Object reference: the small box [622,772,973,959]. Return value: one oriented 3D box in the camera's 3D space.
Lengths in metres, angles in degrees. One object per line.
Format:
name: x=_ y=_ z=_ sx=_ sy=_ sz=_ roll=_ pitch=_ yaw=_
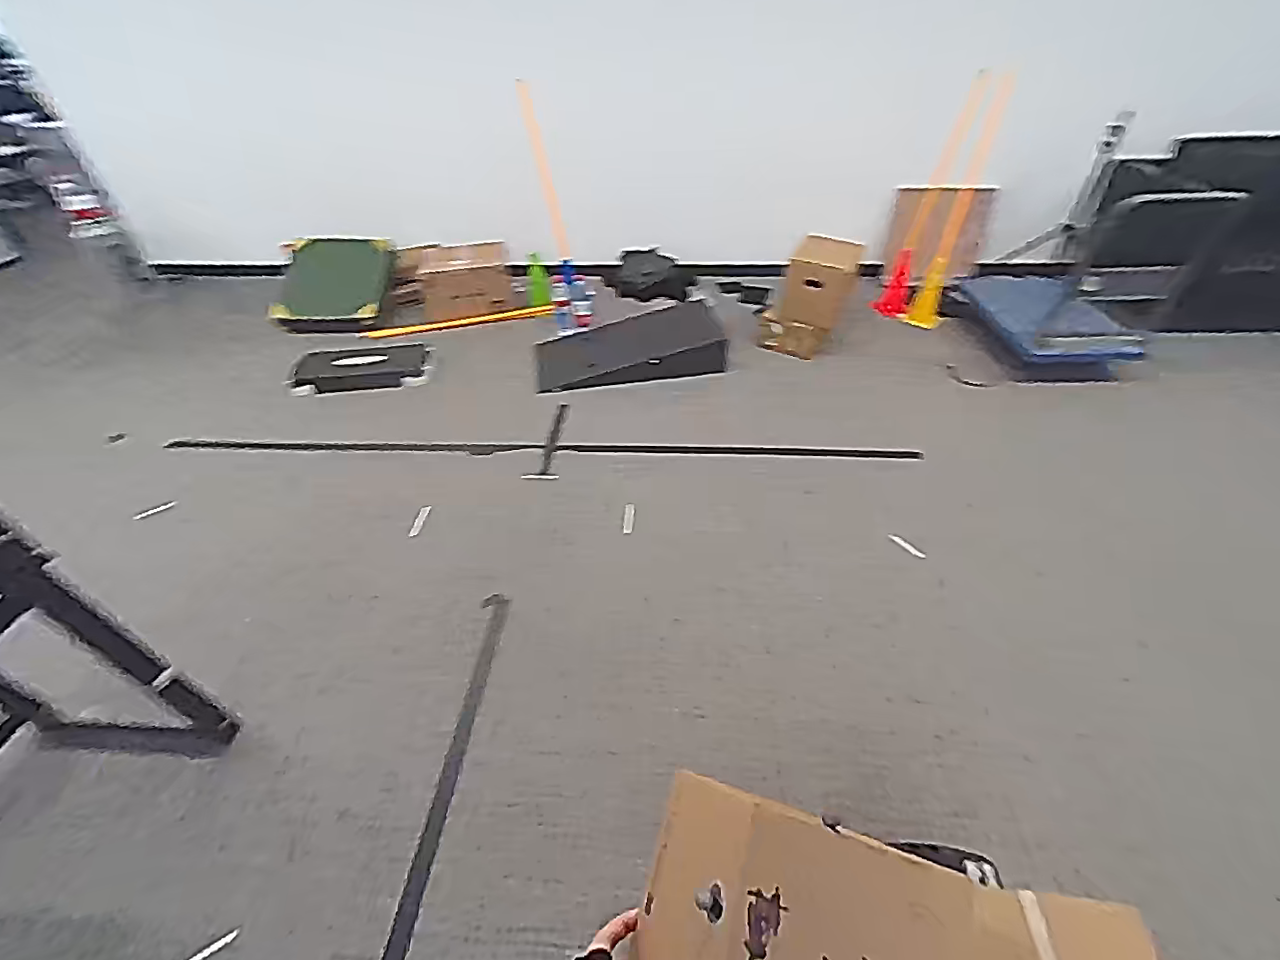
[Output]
small box: x=0.106 y=0.336 z=0.402 sx=0.179 sy=0.176 sz=0.168 roll=22 pitch=64 yaw=-7
